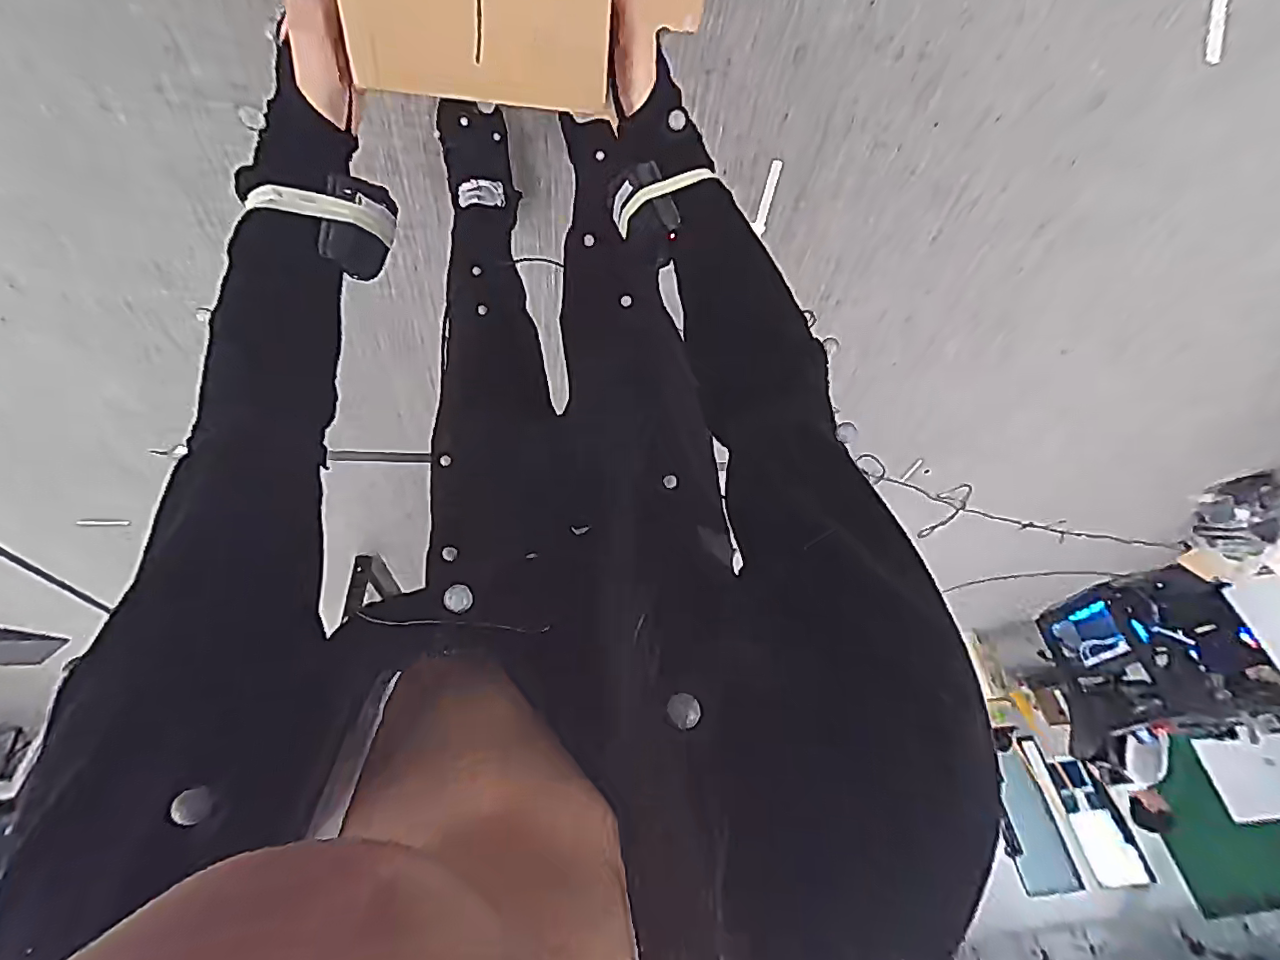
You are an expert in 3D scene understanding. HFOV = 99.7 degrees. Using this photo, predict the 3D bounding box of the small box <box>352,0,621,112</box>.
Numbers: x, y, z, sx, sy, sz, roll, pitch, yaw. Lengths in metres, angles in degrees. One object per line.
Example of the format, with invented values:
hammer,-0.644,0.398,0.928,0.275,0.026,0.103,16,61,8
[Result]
small box,-0.102,-0.376,0.372,0.168,0.176,0.179,-1,131,-11

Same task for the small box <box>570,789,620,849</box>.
small box,-0.158,1.187,1.898,0.168,0.176,0.179,-2,147,-4
